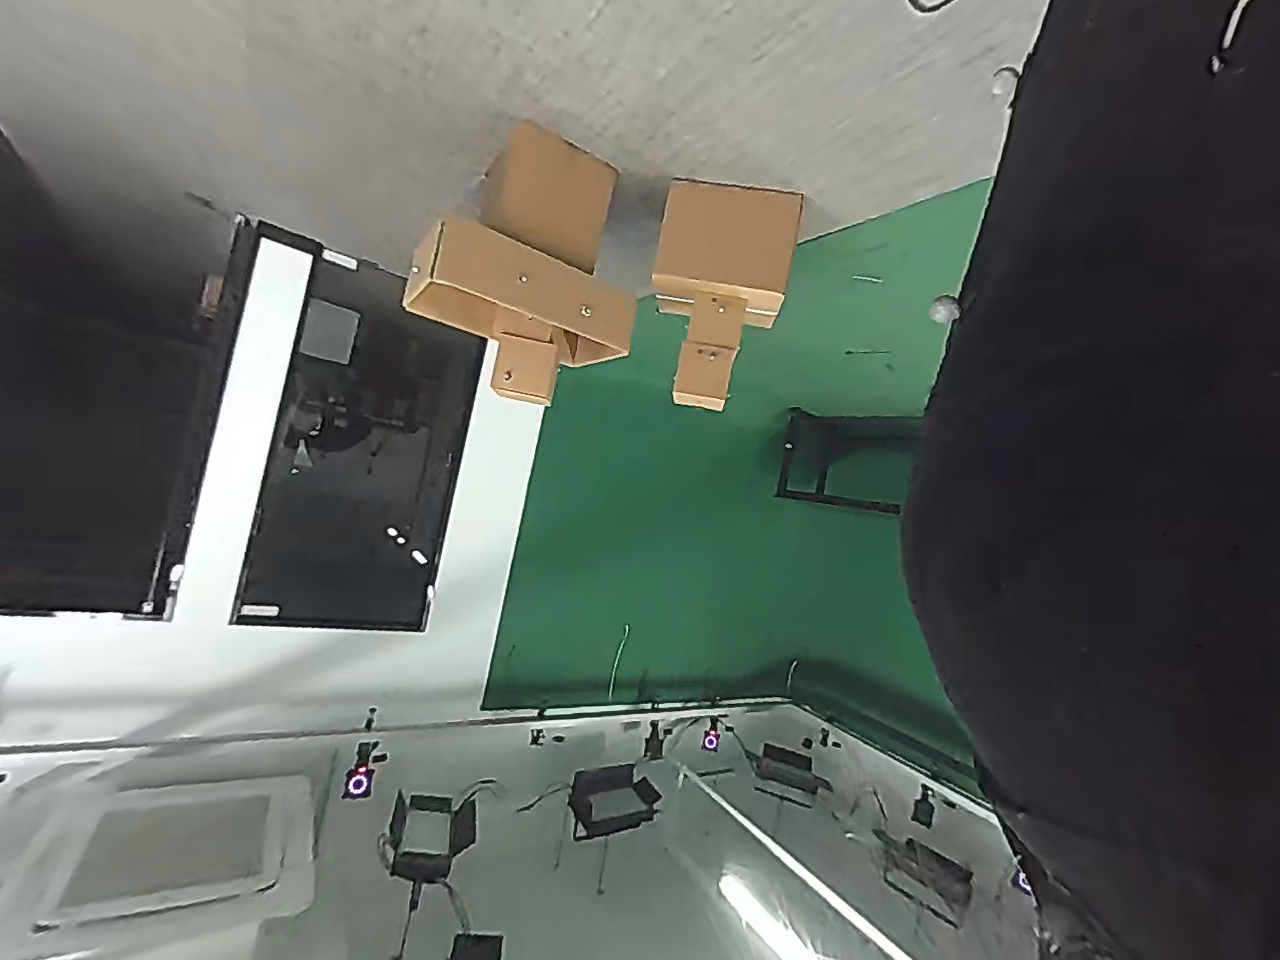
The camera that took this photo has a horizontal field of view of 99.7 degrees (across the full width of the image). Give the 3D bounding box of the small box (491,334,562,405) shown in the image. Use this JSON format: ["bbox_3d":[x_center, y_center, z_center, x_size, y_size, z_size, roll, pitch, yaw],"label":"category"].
[{"bbox_3d":[-0.350,-0.346,1.692,0.179,0.176,0.168,11,178,-5],"label":"small box"}]

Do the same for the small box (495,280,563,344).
[{"bbox_3d":[-0.343,-0.512,1.704,0.179,0.176,0.168,11,176,-3],"label":"small box"}]

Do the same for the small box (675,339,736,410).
[{"bbox_3d":[0.210,-0.337,1.740,0.168,0.176,0.179,11,177,6],"label":"small box"}]

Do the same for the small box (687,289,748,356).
[{"bbox_3d":[0.247,-0.496,1.752,0.168,0.176,0.179,11,177,3],"label":"small box"}]
